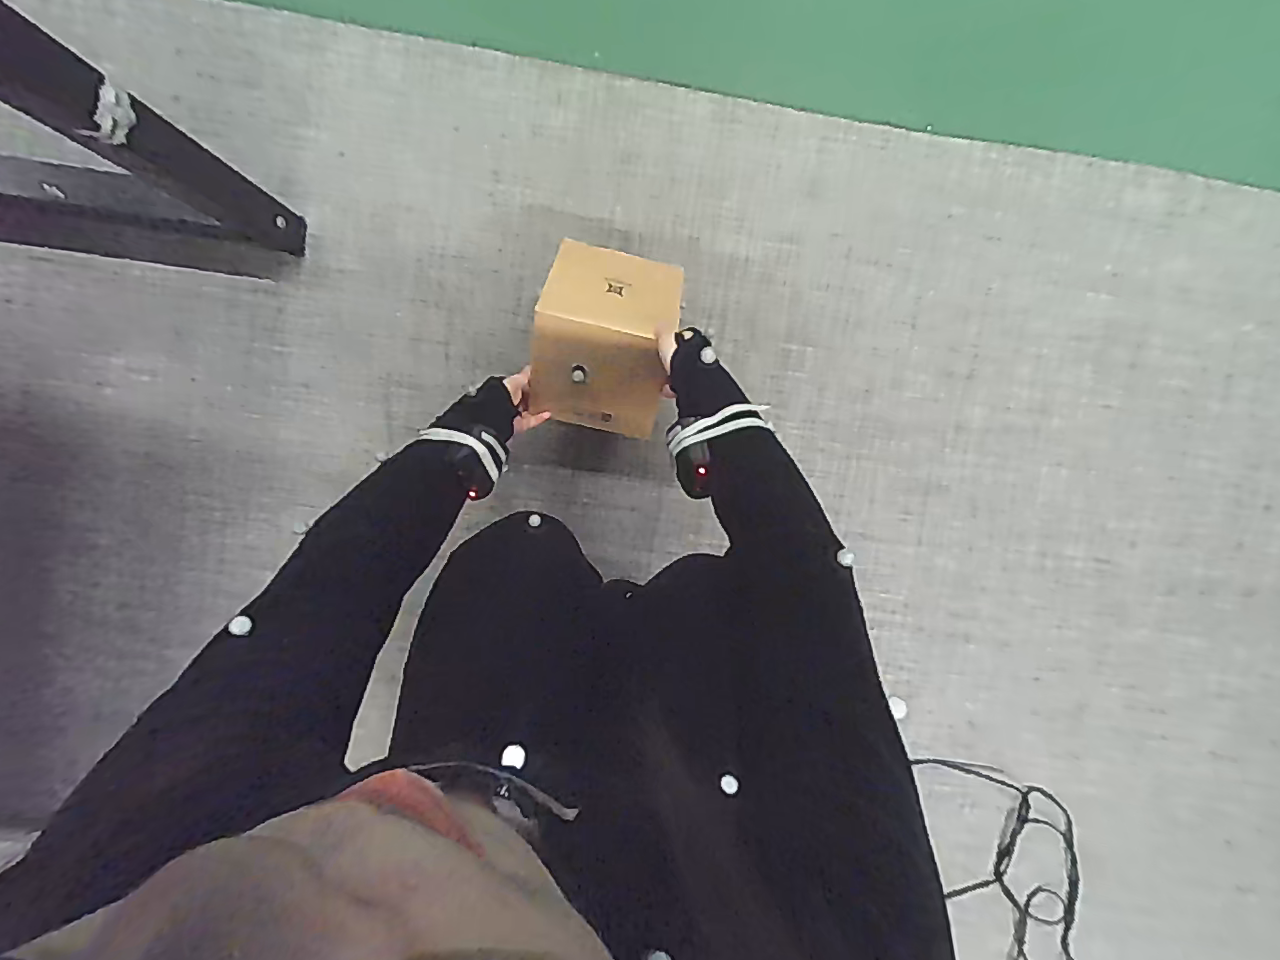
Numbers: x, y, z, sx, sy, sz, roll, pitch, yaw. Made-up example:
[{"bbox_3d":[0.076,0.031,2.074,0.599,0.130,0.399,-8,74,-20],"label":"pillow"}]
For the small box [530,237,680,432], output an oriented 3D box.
[{"bbox_3d":[-0.049,-0.190,0.726,0.168,0.176,0.179,12,50,-6],"label":"small box"}]
